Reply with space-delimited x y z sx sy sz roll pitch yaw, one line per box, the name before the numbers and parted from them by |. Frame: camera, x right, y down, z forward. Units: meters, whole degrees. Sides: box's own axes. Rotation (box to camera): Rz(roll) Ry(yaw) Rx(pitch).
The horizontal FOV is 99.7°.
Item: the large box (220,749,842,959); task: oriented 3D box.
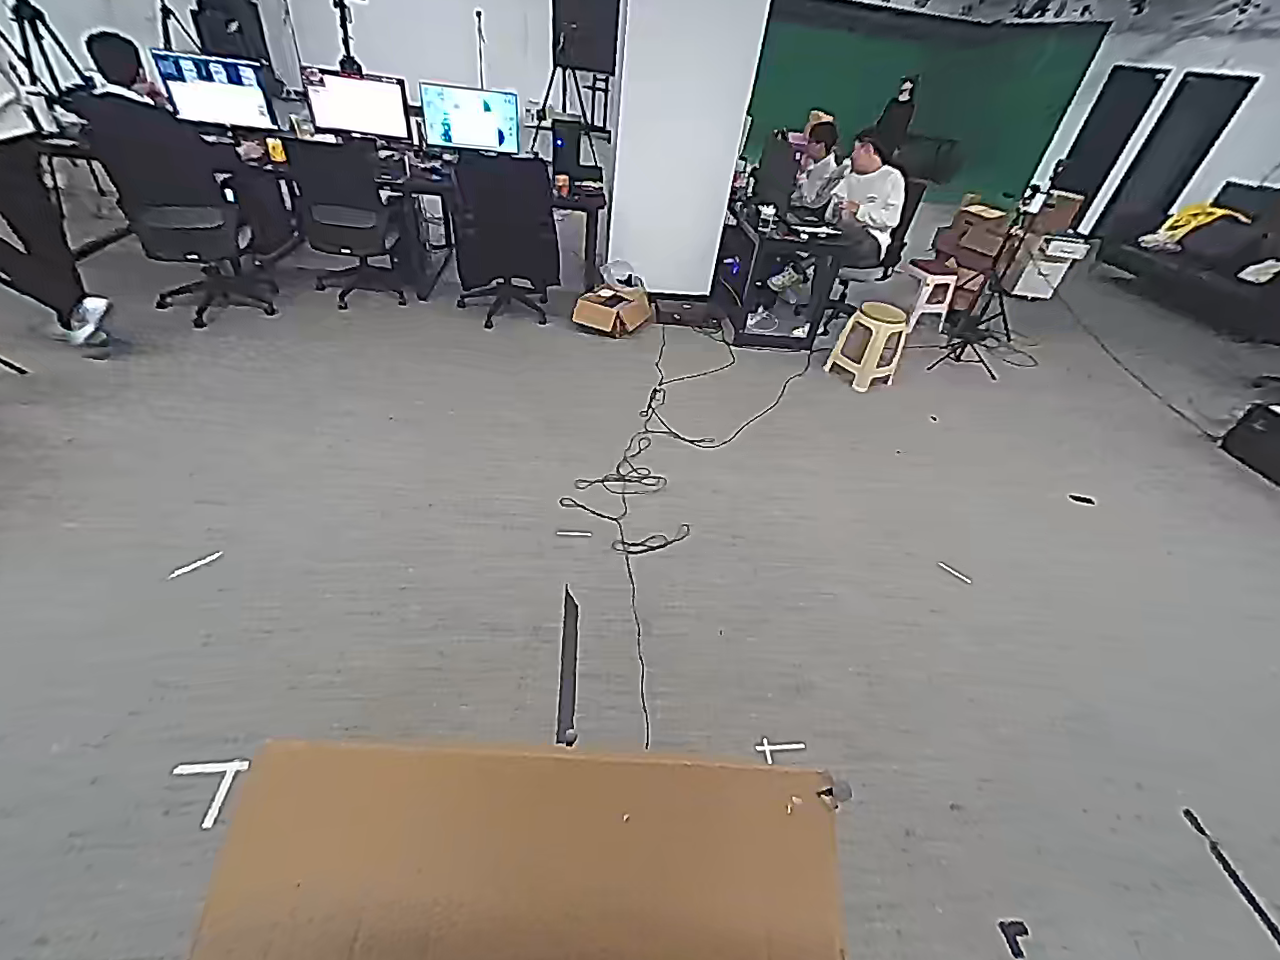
large box | -0.074 0.406 0.461 0.408 0.320 0.320 3 66 1
